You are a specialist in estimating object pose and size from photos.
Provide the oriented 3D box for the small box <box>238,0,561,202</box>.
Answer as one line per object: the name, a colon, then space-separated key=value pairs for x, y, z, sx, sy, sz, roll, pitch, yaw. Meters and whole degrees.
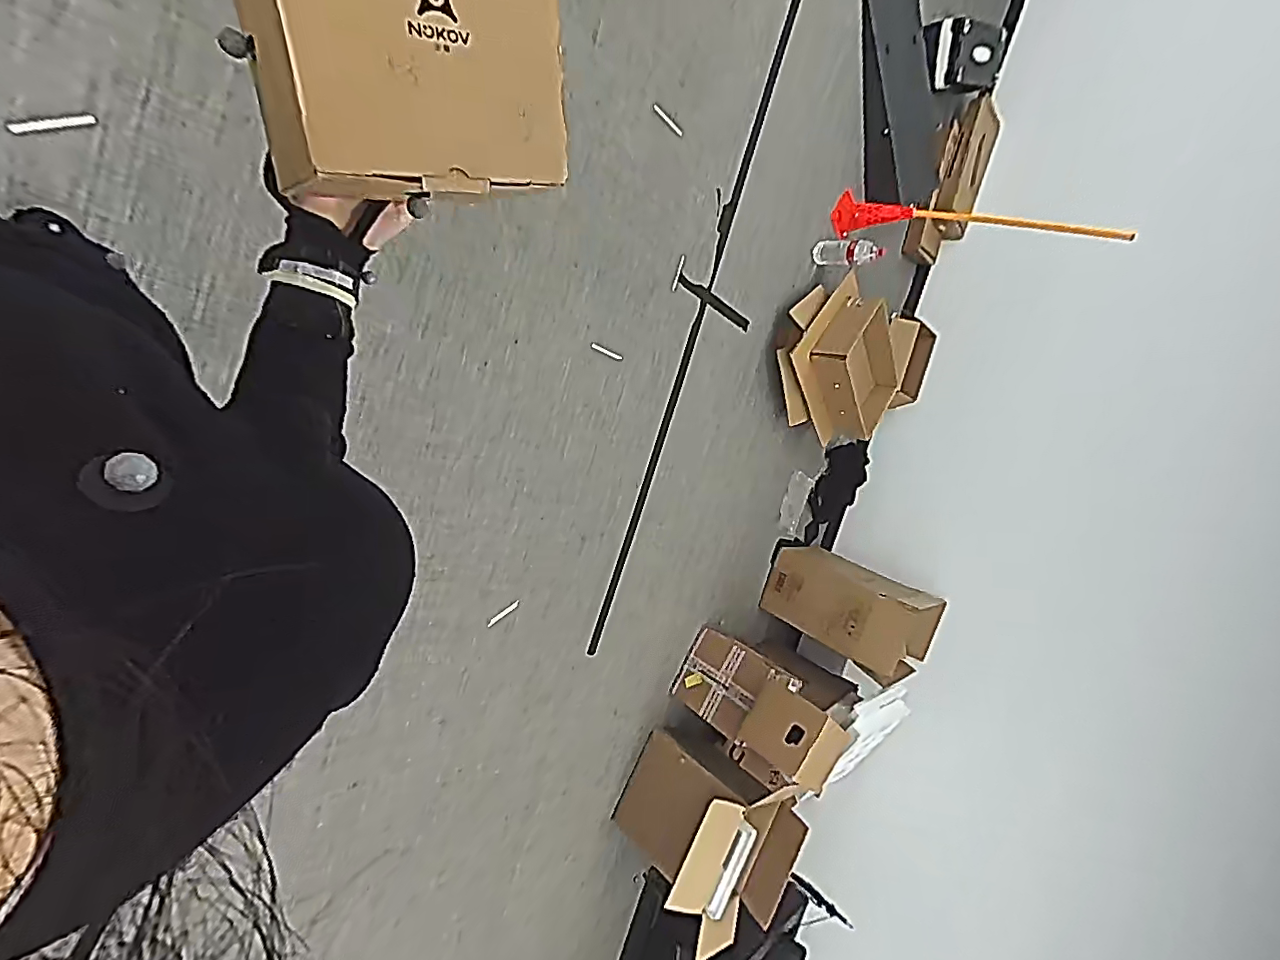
small box: x=-0.171 y=-0.298 z=0.382 sx=0.168 sy=0.176 sz=0.179 roll=-18 pitch=120 yaw=-34
